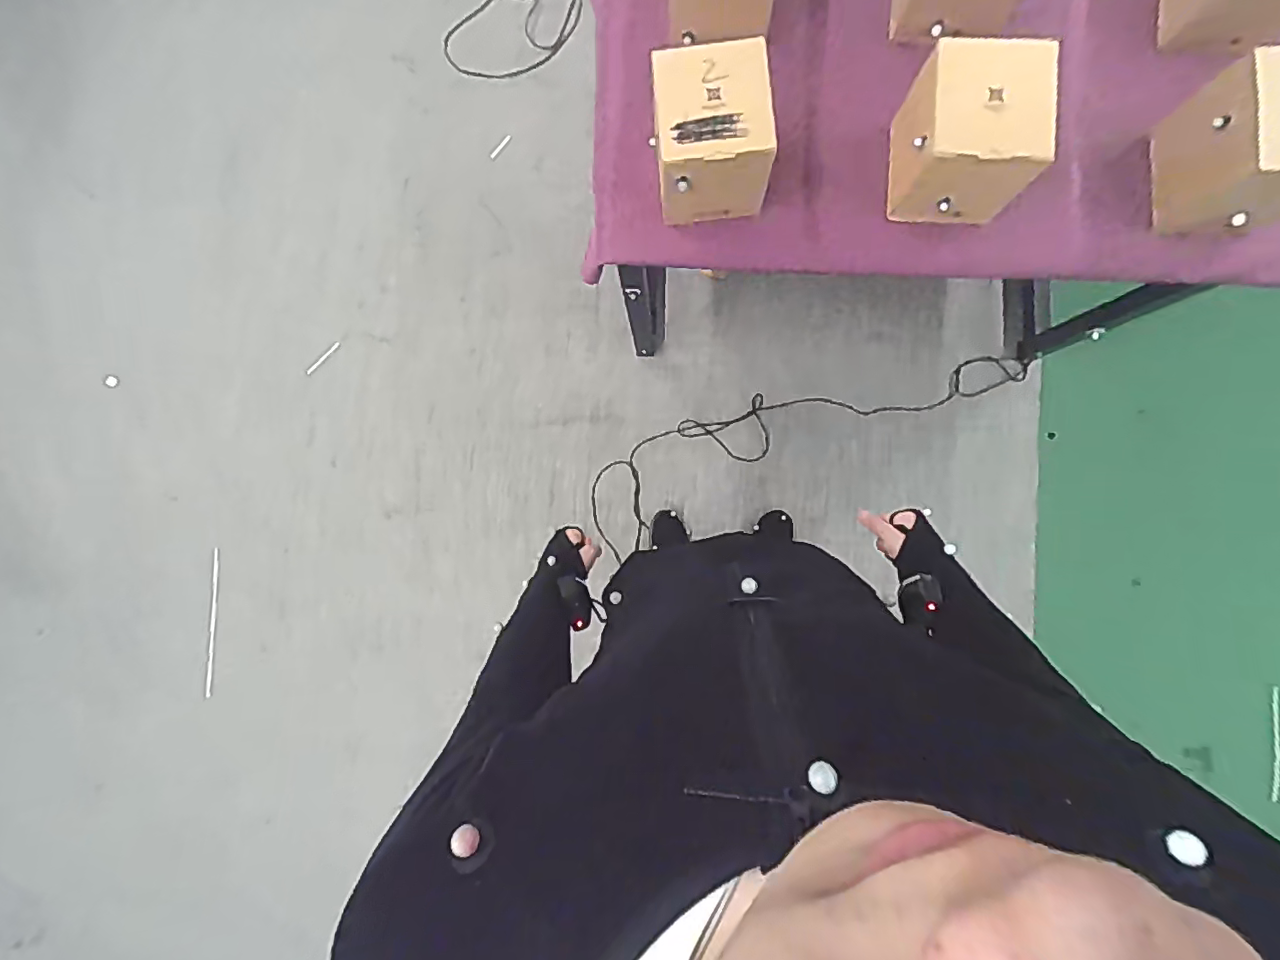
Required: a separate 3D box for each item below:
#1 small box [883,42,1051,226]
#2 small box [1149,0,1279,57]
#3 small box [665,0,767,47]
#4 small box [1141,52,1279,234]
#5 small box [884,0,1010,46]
[{"bbox_3d":[0.496,-0.528,0.843,0.168,0.176,0.179,4,88,2],"label":"small box"},{"bbox_3d":[0.938,-0.804,0.830,0.168,0.176,0.179,3,89,3],"label":"small box"},{"bbox_3d":[0.126,-0.840,0.865,0.168,0.176,0.179,3,89,2],"label":"small box"},{"bbox_3d":[0.914,-0.499,0.819,0.168,0.176,0.179,1,88,4],"label":"small box"},{"bbox_3d":[0.503,-0.836,0.852,0.168,0.176,0.179,5,90,3],"label":"small box"}]
